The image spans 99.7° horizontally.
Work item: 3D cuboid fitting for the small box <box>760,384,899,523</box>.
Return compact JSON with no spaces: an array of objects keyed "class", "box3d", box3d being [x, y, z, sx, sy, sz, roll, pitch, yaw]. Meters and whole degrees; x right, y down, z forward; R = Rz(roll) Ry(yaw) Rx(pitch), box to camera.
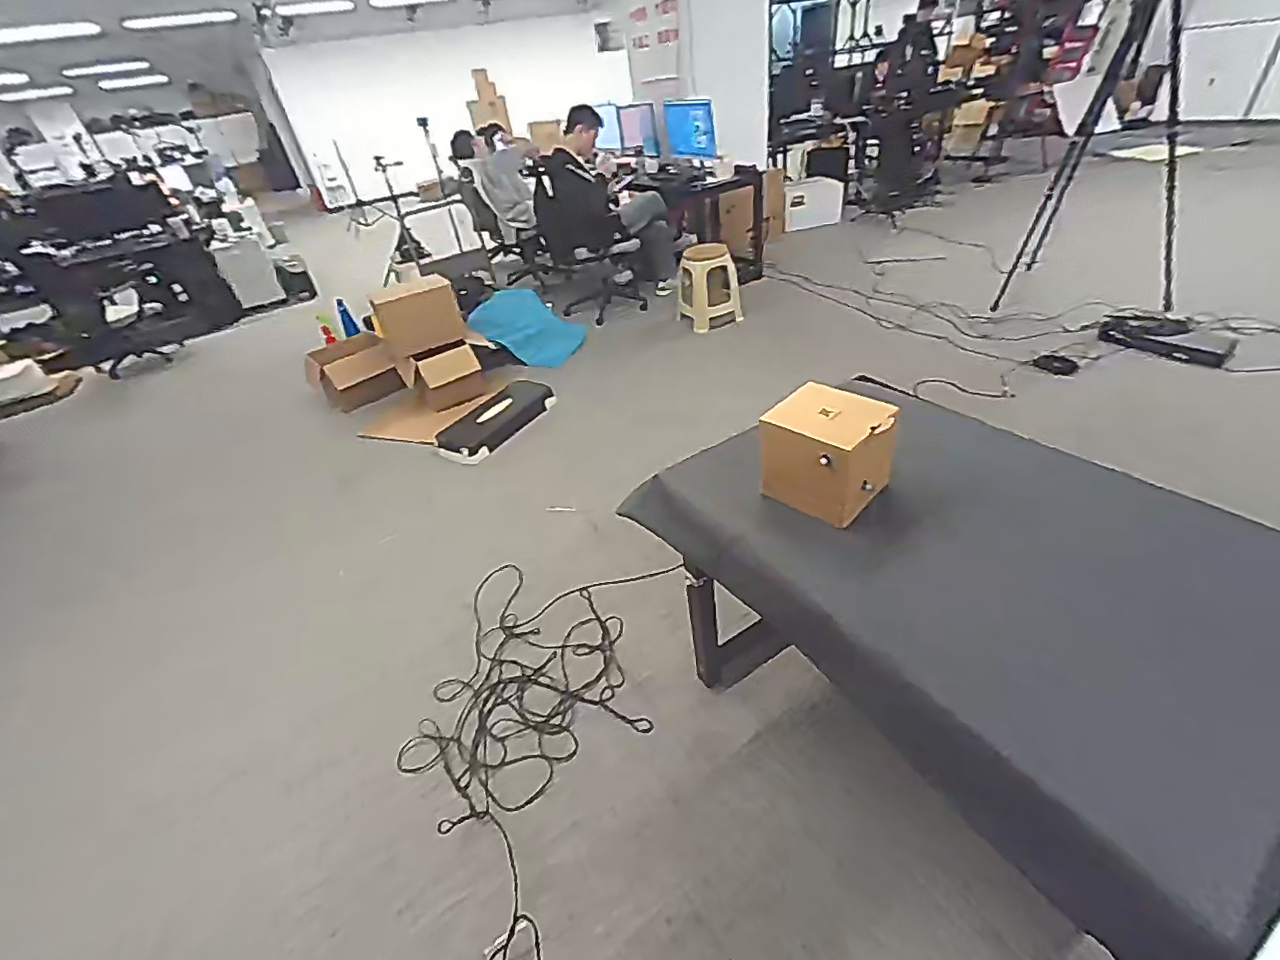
[{"class":"small box","box3d":[0.333,-0.050,0.977,0.168,0.176,0.179,-35,44,-31]}]
